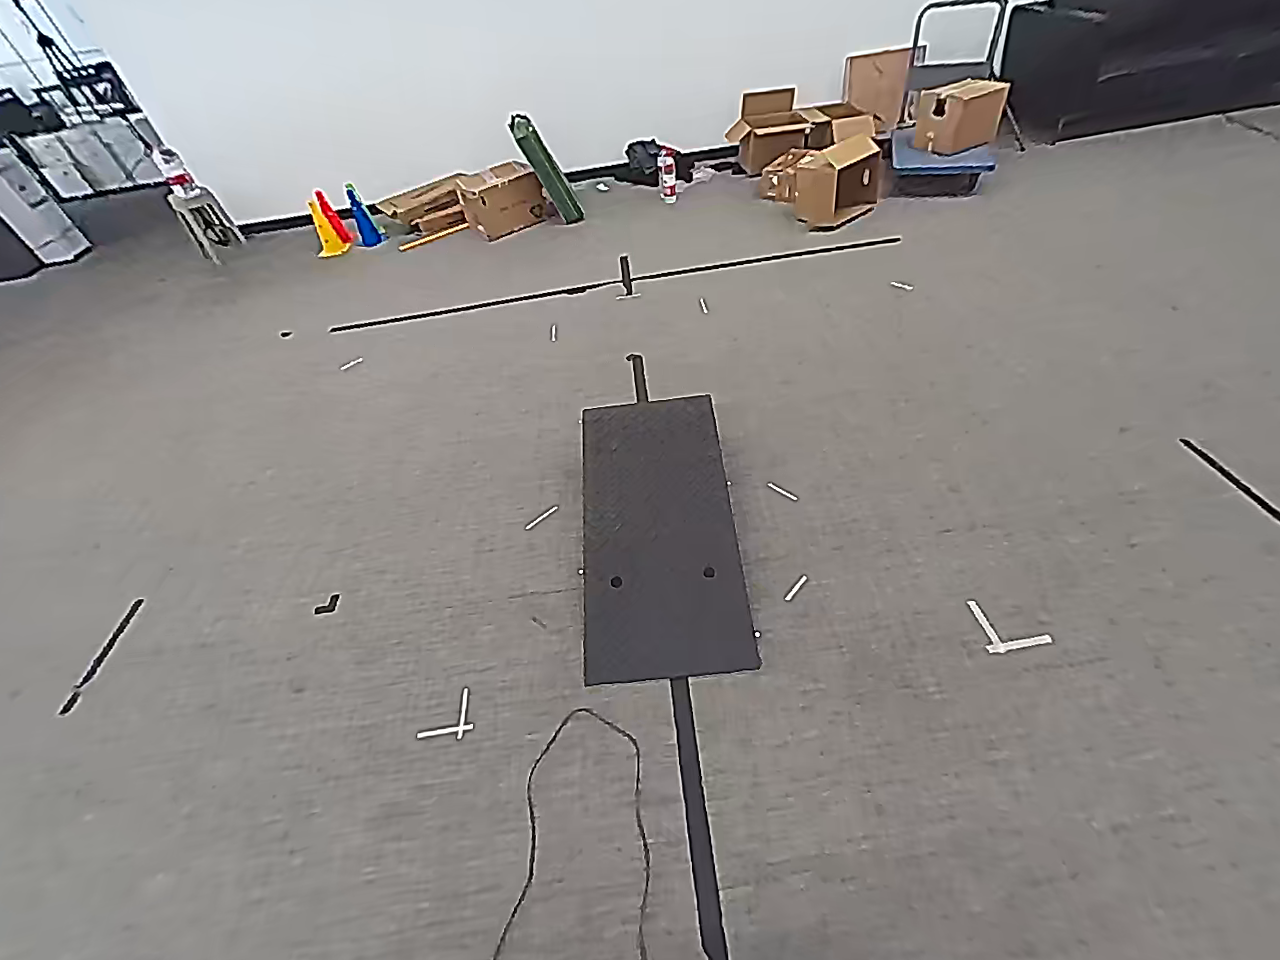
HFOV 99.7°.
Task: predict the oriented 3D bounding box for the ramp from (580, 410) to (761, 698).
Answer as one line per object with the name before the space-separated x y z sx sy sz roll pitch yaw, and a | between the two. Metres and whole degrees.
ramp | 0.057 0.172 1.783 0.509 0.206 0.991 -8 45 1
